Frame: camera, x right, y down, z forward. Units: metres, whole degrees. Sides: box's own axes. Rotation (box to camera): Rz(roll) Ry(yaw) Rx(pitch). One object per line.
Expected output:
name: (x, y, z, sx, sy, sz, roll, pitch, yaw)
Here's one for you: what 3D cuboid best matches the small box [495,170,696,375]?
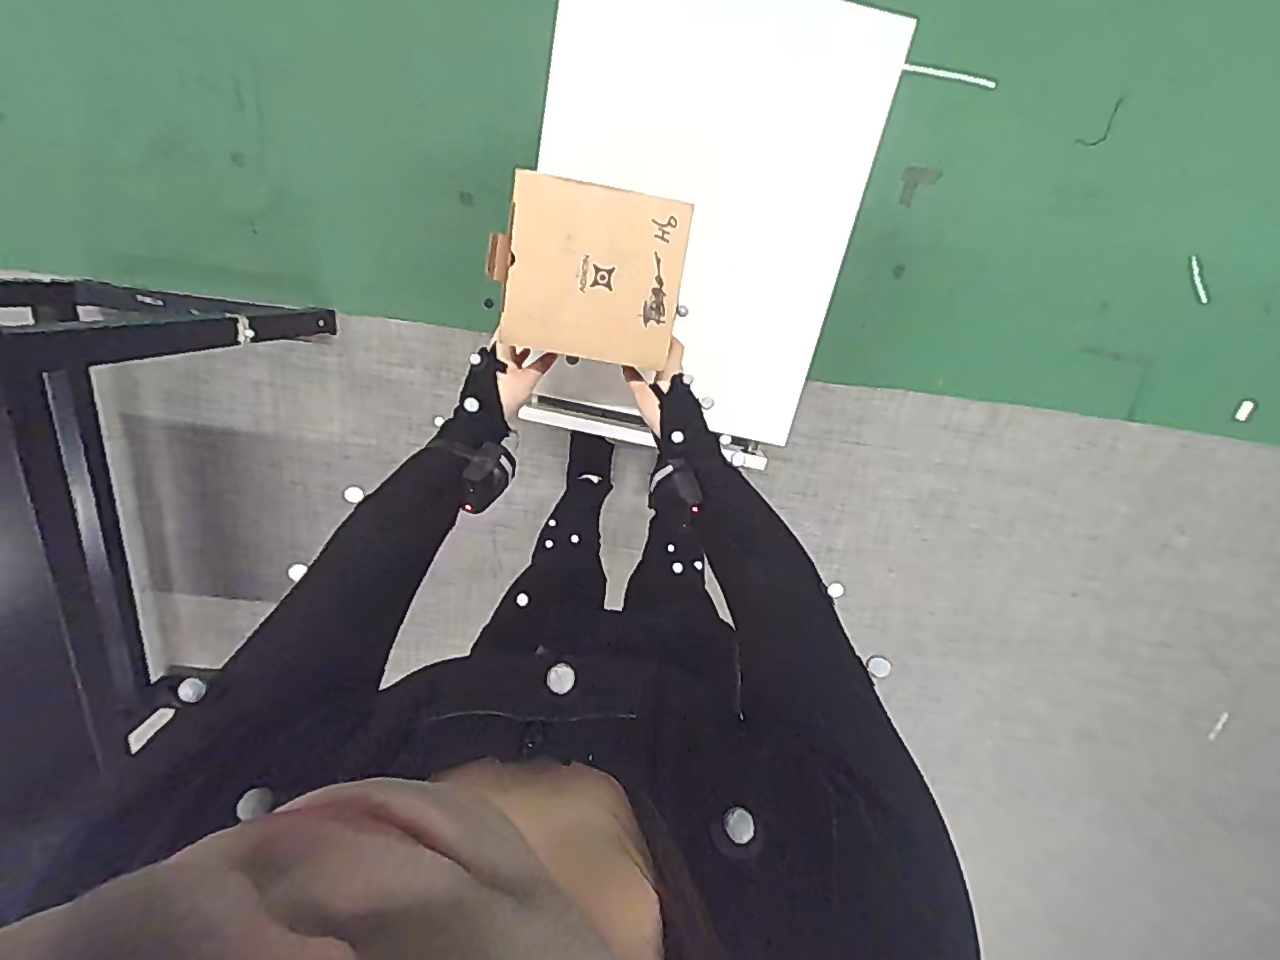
small box: (-0.047, -0.218, 0.605, 0.179, 0.176, 0.168, 10, 105, -4)
